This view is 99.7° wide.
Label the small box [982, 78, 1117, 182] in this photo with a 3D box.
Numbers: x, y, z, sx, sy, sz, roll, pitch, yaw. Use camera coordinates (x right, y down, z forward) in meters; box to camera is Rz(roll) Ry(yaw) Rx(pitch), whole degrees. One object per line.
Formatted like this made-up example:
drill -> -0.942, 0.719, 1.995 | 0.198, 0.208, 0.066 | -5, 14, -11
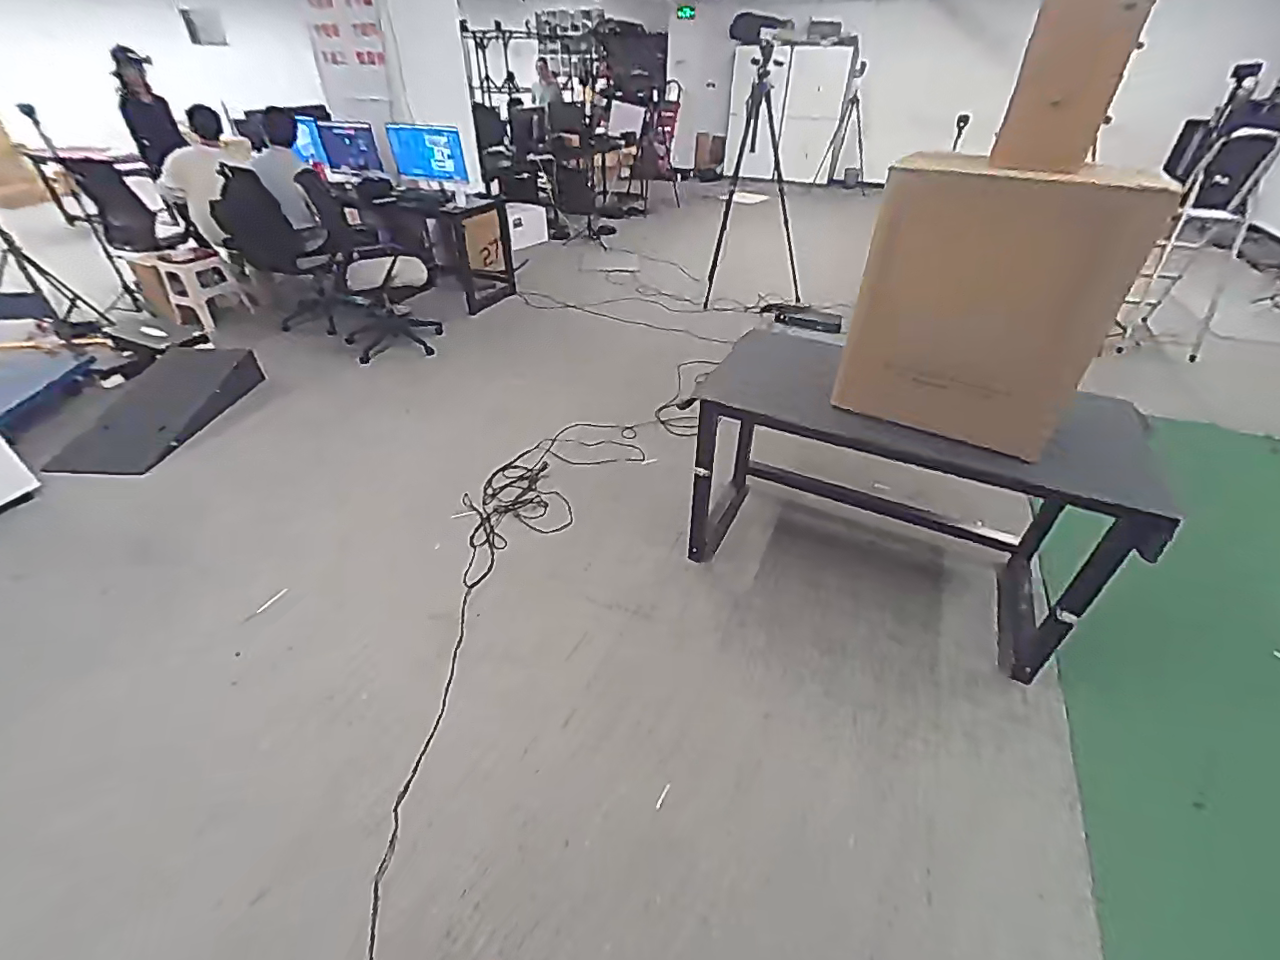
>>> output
small box -> 0.865, -0.743, 1.150 | 0.179, 0.176, 0.168 | 21, 44, 25
